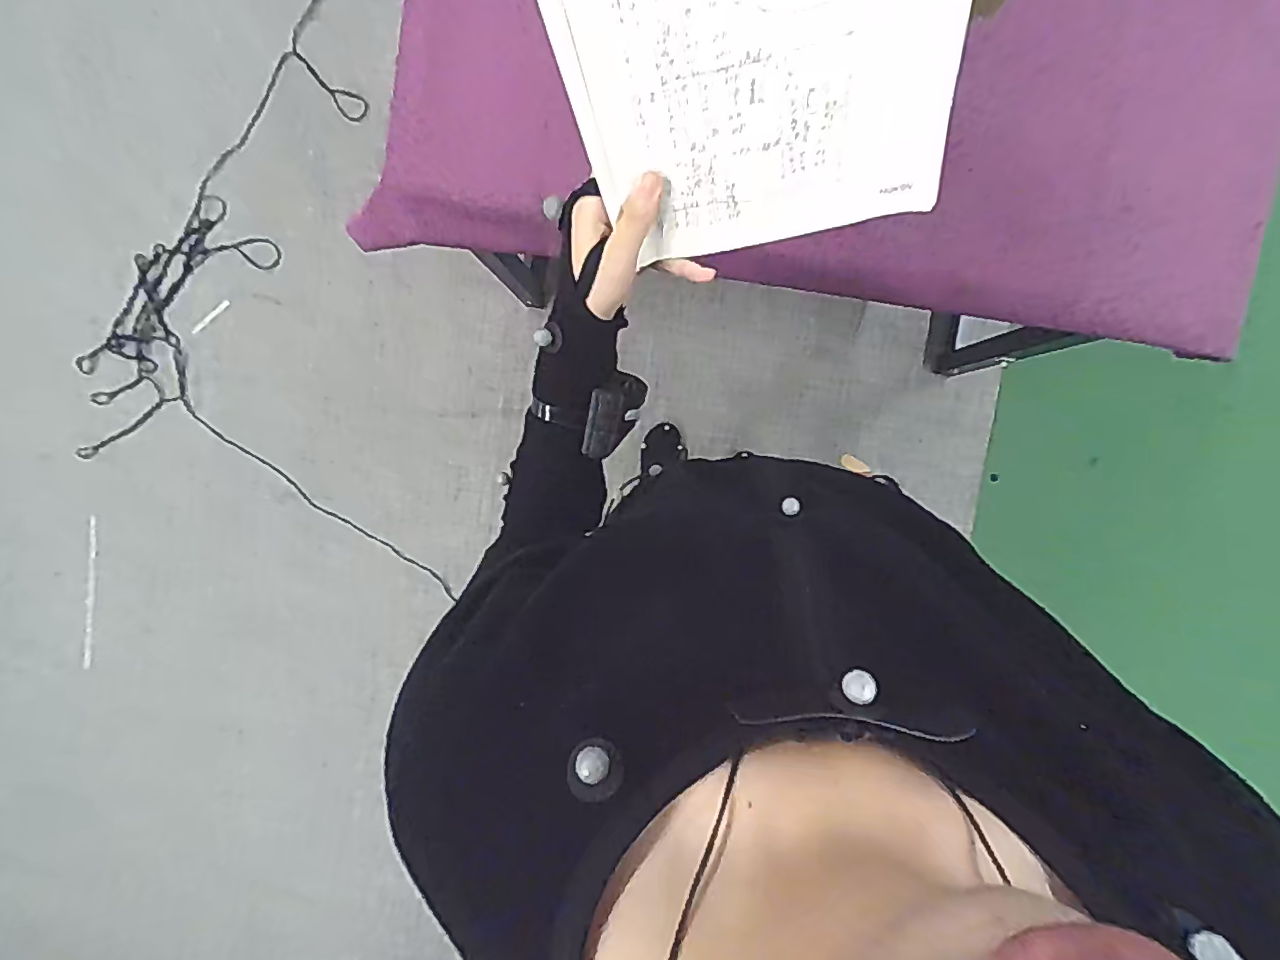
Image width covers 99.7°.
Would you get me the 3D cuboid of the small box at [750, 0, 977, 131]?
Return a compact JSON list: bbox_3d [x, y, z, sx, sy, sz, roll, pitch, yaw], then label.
[{"bbox_3d":[0.204,-0.467,0.506,0.168,0.176,0.179,10,92,3],"label":"small box"}]
